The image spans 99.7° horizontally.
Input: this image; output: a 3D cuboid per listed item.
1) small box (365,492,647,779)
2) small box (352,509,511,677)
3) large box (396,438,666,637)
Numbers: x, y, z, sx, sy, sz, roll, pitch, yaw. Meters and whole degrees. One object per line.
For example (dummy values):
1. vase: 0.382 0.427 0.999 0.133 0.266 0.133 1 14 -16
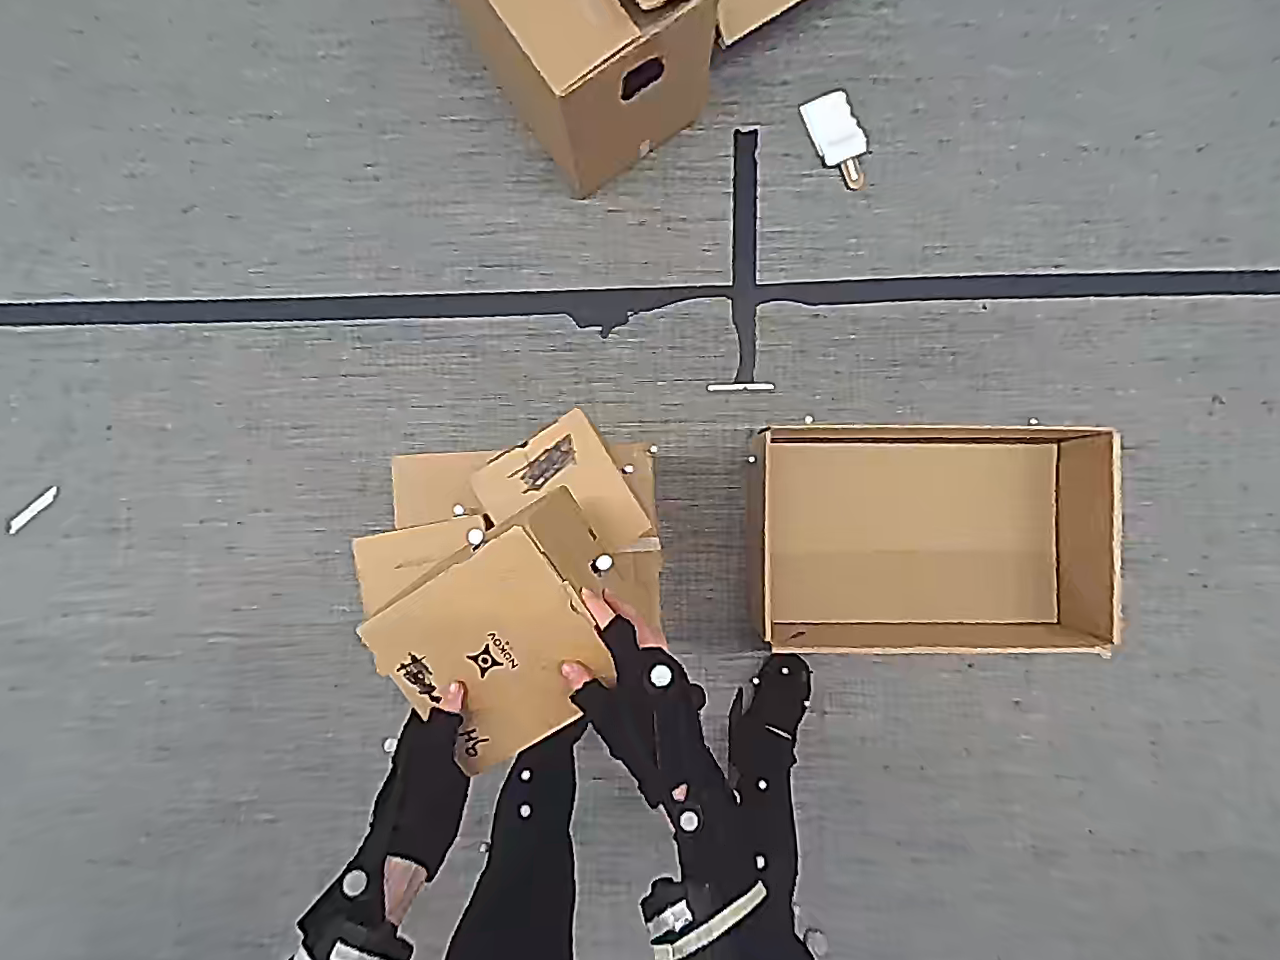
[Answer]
1. small box: -0.108 0.130 0.518 0.179 0.176 0.168 -32 96 7
2. small box: -0.256 0.142 0.739 0.168 0.176 0.179 -11 89 -1
3. large box: -0.170 0.103 0.980 0.408 0.320 0.320 -4 91 0
